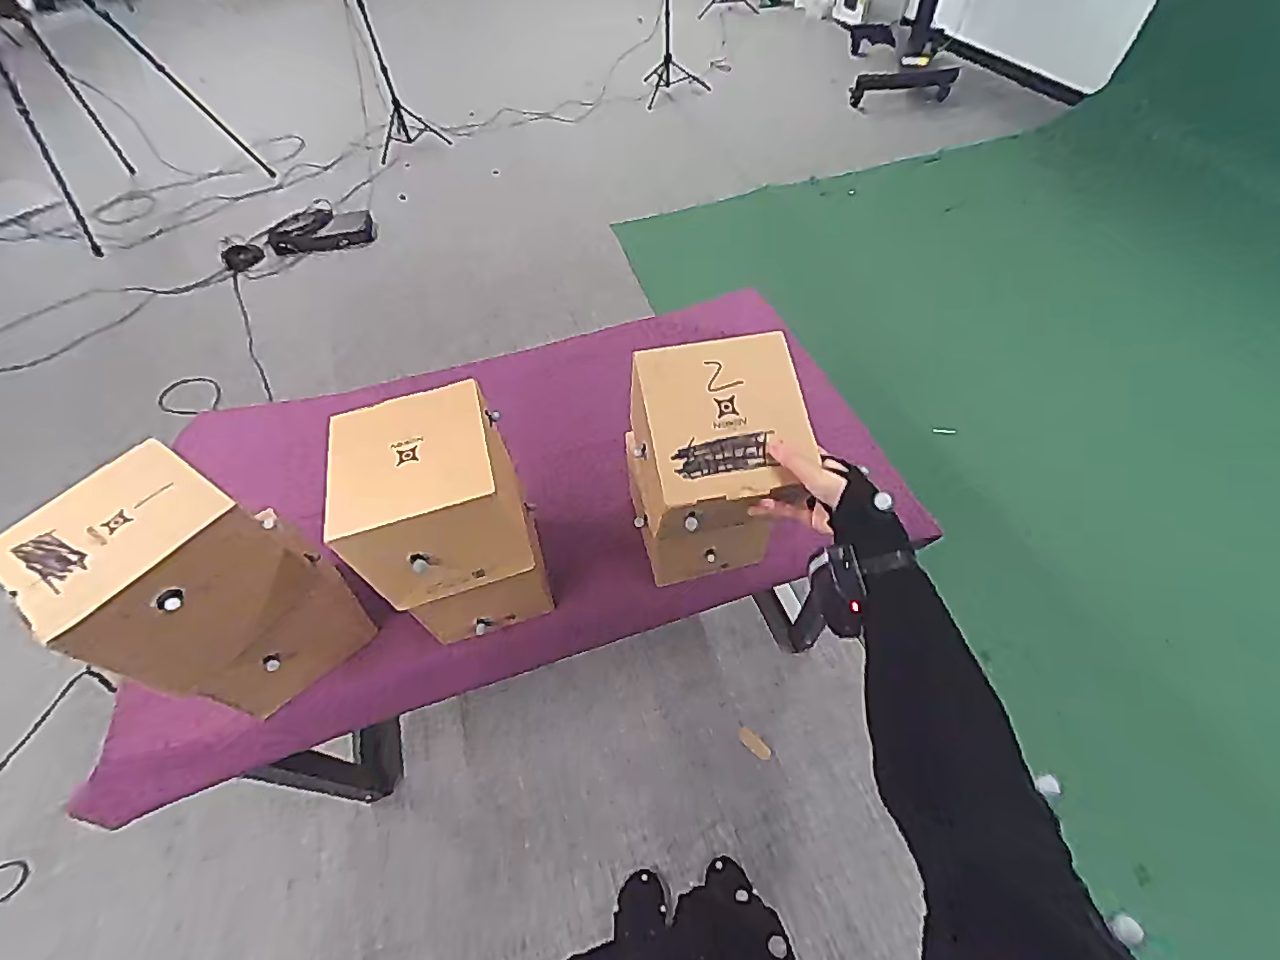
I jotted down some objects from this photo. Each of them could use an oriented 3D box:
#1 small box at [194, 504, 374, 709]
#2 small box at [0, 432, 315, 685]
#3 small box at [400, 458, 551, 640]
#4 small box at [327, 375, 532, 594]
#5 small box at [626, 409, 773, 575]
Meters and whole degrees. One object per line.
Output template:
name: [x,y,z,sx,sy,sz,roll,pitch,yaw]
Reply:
small box: [-0.500,0.174,0.725,0.179,0.176,0.168,-38,61,-22]
small box: [-0.504,0.088,0.583,0.168,0.176,0.179,28,59,22]
small box: [-0.233,0.098,0.768,0.168,0.176,0.179,-16,54,-7]
small box: [-0.234,0.014,0.628,0.168,0.176,0.179,-17,53,-7]
small box: [0.081,0.026,0.802,0.168,0.176,0.179,-12,54,-6]
